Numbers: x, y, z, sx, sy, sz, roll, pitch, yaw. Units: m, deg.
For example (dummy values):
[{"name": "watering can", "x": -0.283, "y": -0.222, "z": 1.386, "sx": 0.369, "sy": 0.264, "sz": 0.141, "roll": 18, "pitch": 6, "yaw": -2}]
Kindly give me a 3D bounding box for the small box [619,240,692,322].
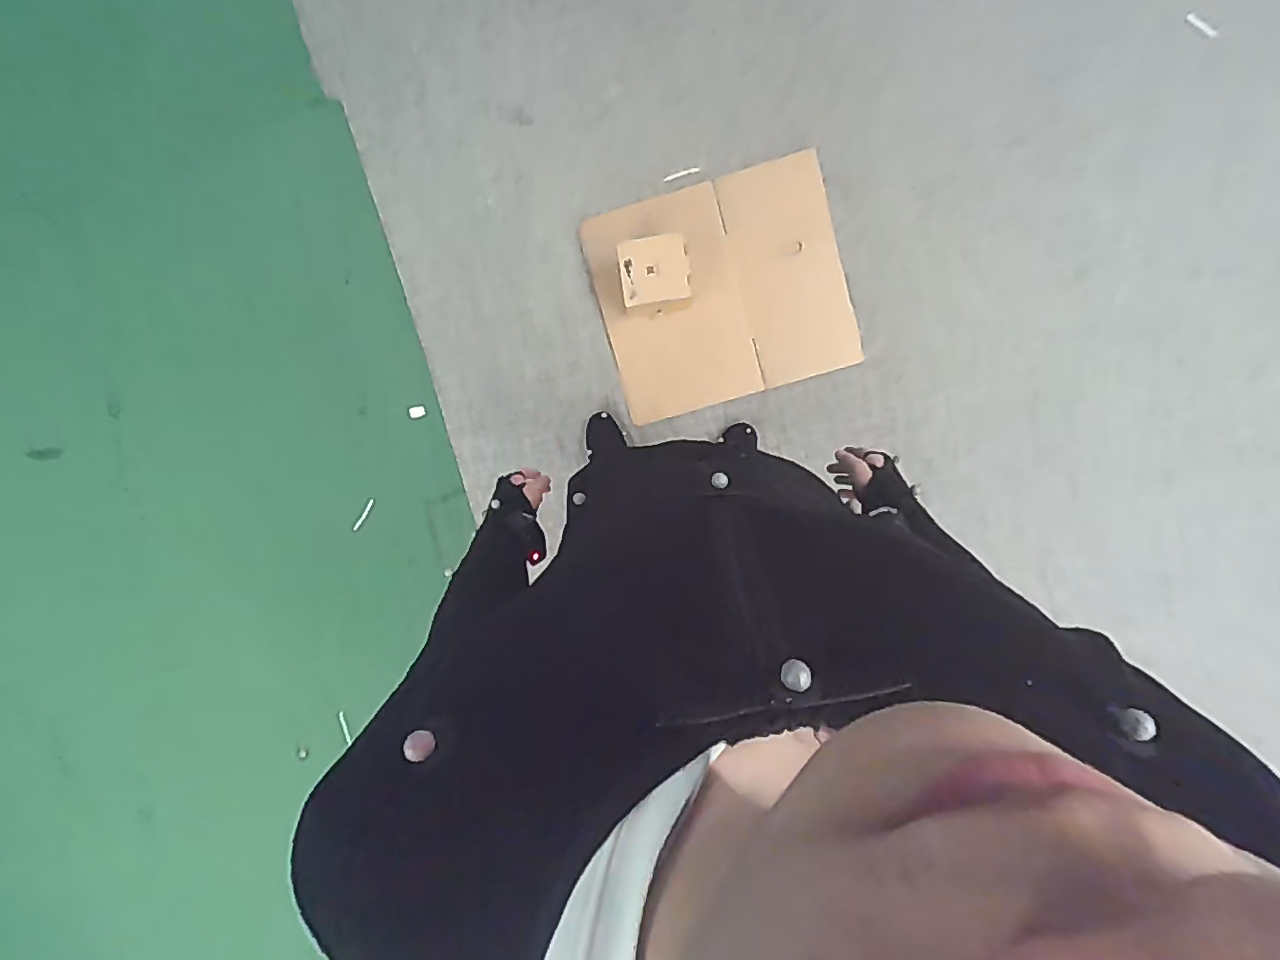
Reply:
[{"name": "small box", "x": 0.042, "y": -0.539, "z": 1.479, "sx": 0.179, "sy": 0.176, "sz": 0.168, "roll": -7, "pitch": 96, "yaw": 3}]
